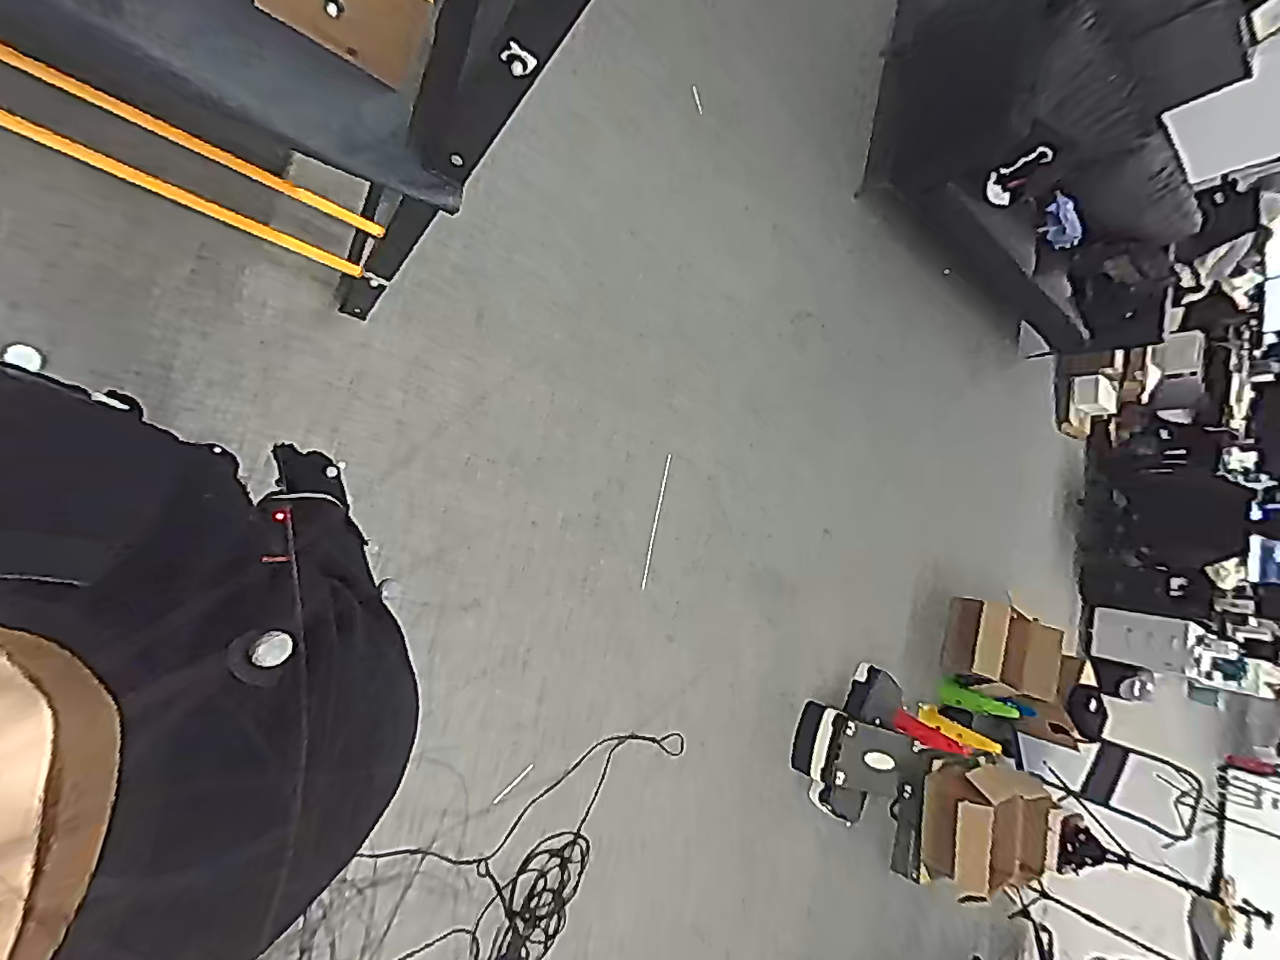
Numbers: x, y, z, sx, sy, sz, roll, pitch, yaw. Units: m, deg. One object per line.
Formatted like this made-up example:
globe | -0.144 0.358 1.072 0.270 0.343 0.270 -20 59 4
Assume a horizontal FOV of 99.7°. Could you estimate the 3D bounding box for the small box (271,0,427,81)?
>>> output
small box | -0.328 -0.624 0.625 0.168 0.176 0.179 16 80 -35
